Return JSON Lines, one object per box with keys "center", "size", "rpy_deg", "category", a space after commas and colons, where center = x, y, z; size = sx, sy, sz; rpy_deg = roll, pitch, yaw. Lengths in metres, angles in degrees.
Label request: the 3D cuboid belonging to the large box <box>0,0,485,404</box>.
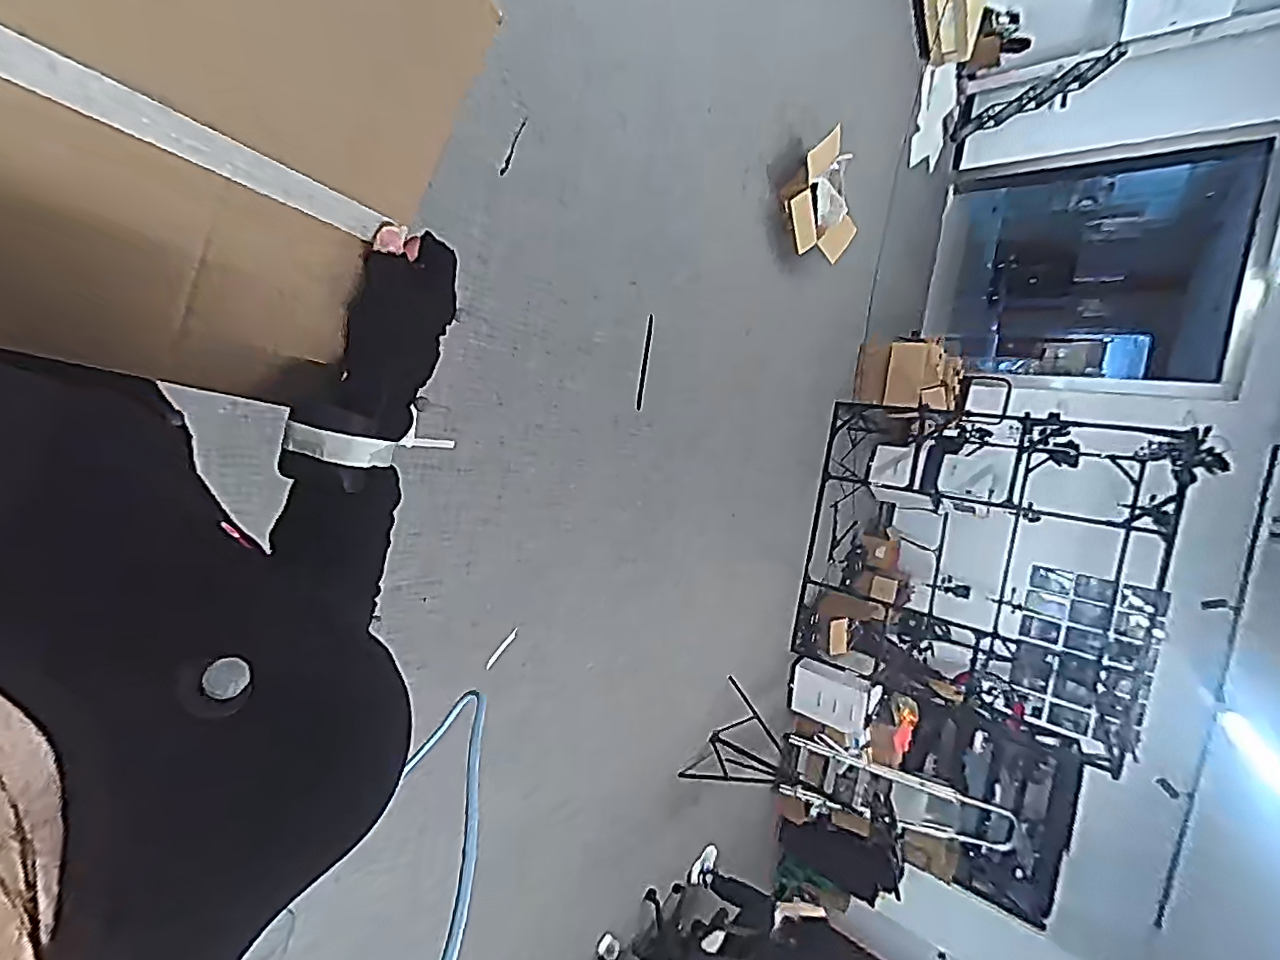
{"center": [-0.386, -0.295, 0.327], "size": [0.408, 0.320, 0.320], "rpy_deg": [11, 123, -49], "category": "large box"}
